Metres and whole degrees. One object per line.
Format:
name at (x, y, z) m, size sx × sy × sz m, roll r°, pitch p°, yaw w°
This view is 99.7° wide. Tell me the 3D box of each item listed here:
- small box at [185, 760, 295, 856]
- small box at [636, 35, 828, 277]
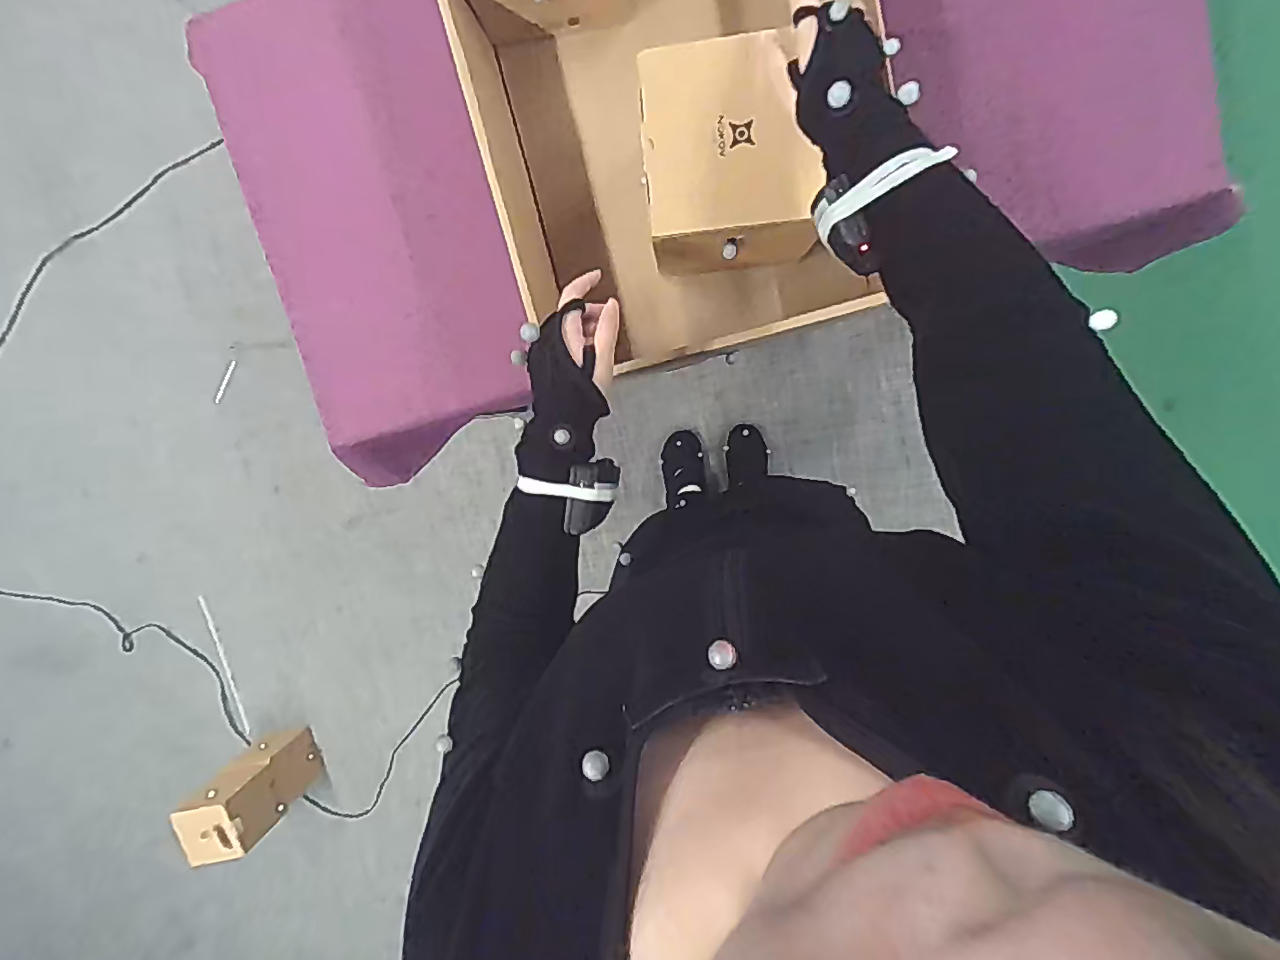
small box at (-1.144, 0.942, 1.567) m, size 0.179 × 0.176 × 0.168 m, roll -15°, pitch 96°, yaw 10°
small box at (0.097, -0.328, 0.587) m, size 0.179 × 0.176 × 0.168 m, roll -3°, pitch 98°, yaw 9°
